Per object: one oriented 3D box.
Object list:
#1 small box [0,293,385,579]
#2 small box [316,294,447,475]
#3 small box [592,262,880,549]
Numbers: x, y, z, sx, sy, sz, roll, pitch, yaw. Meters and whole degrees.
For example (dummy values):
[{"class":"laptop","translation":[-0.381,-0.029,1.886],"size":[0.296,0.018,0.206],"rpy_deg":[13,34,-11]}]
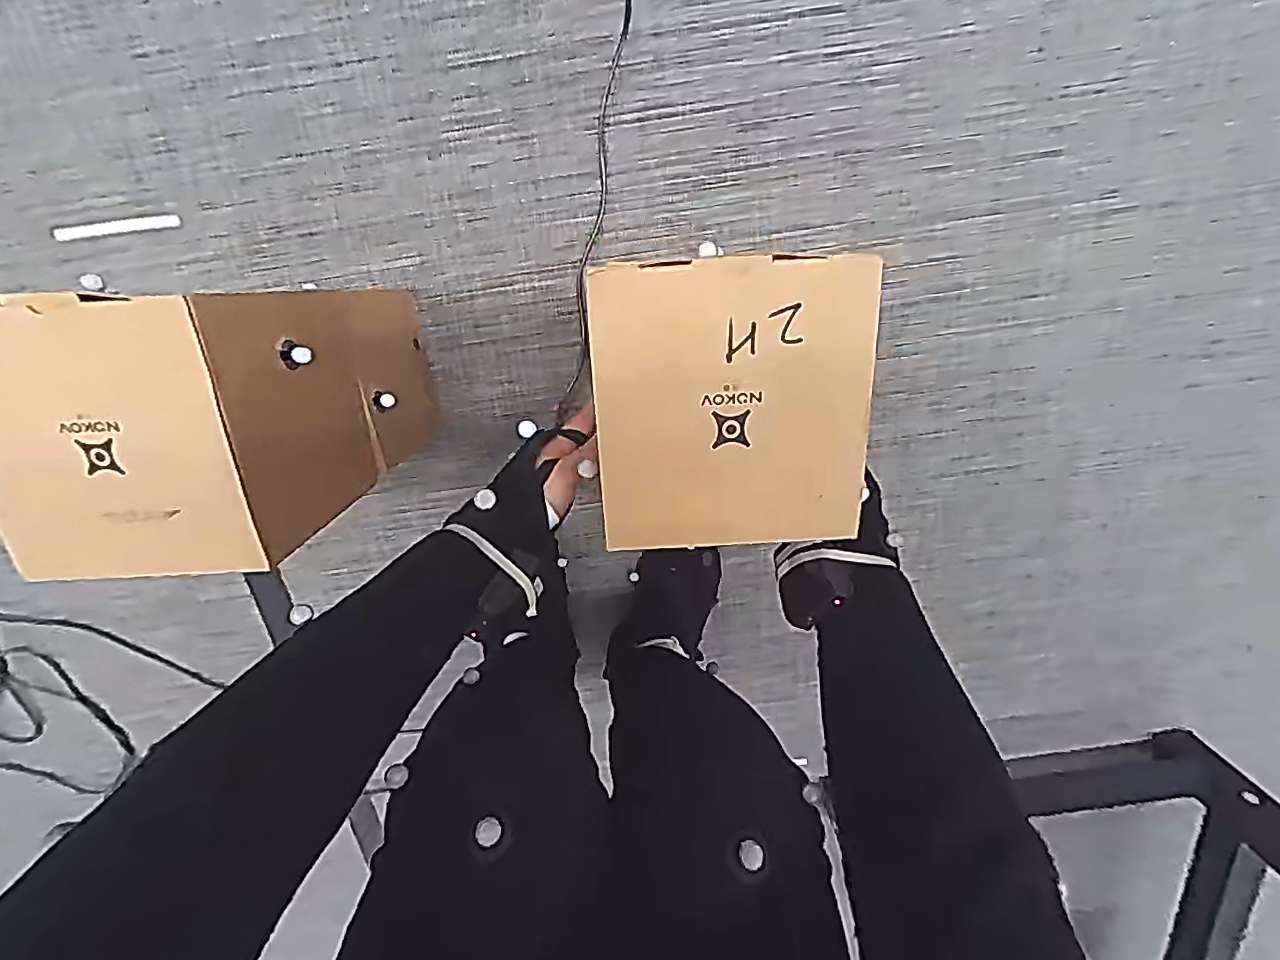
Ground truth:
[{"class":"small box","translation":[-0.322,-0.046,0.409],"size":[0.168,0.176,0.179],"rpy_deg":[-3,111,1]},{"class":"small box","translation":[-0.329,-0.098,0.565],"size":[0.179,0.176,0.168],"rpy_deg":[-7,110,2]},{"class":"small box","translation":[0.056,-0.065,0.407],"size":[0.168,0.176,0.179],"rpy_deg":[-3,109,-1]}]
